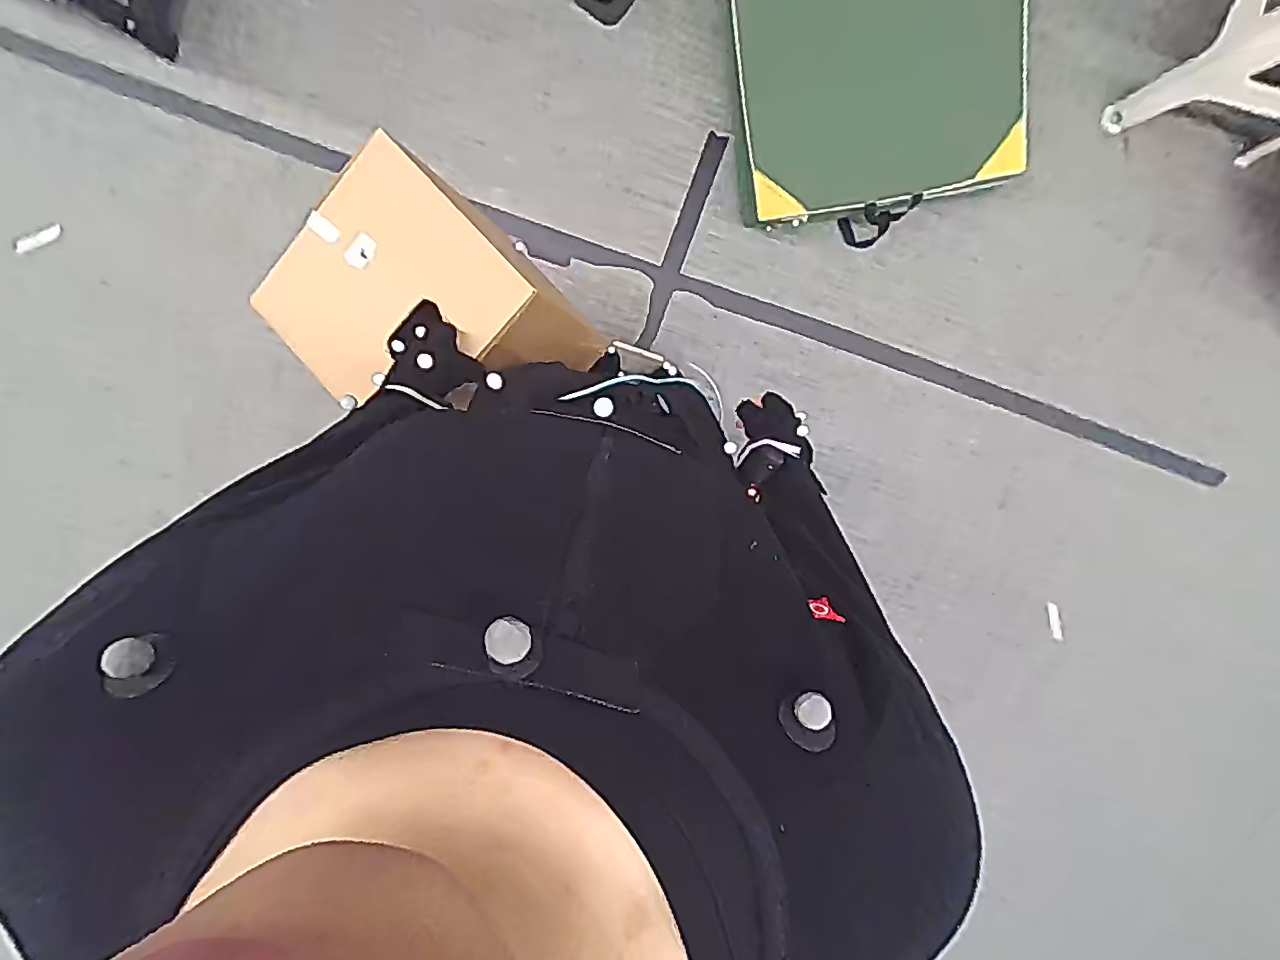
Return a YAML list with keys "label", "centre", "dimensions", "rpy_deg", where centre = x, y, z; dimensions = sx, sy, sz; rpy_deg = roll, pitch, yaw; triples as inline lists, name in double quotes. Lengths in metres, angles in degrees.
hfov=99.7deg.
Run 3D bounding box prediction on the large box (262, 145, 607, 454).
- label: "large box"
  centre: [-0.314, -0.268, 0.936]
  dimensions: [0.320, 0.408, 0.320]
  rpy_deg: [-43, 86, 12]
